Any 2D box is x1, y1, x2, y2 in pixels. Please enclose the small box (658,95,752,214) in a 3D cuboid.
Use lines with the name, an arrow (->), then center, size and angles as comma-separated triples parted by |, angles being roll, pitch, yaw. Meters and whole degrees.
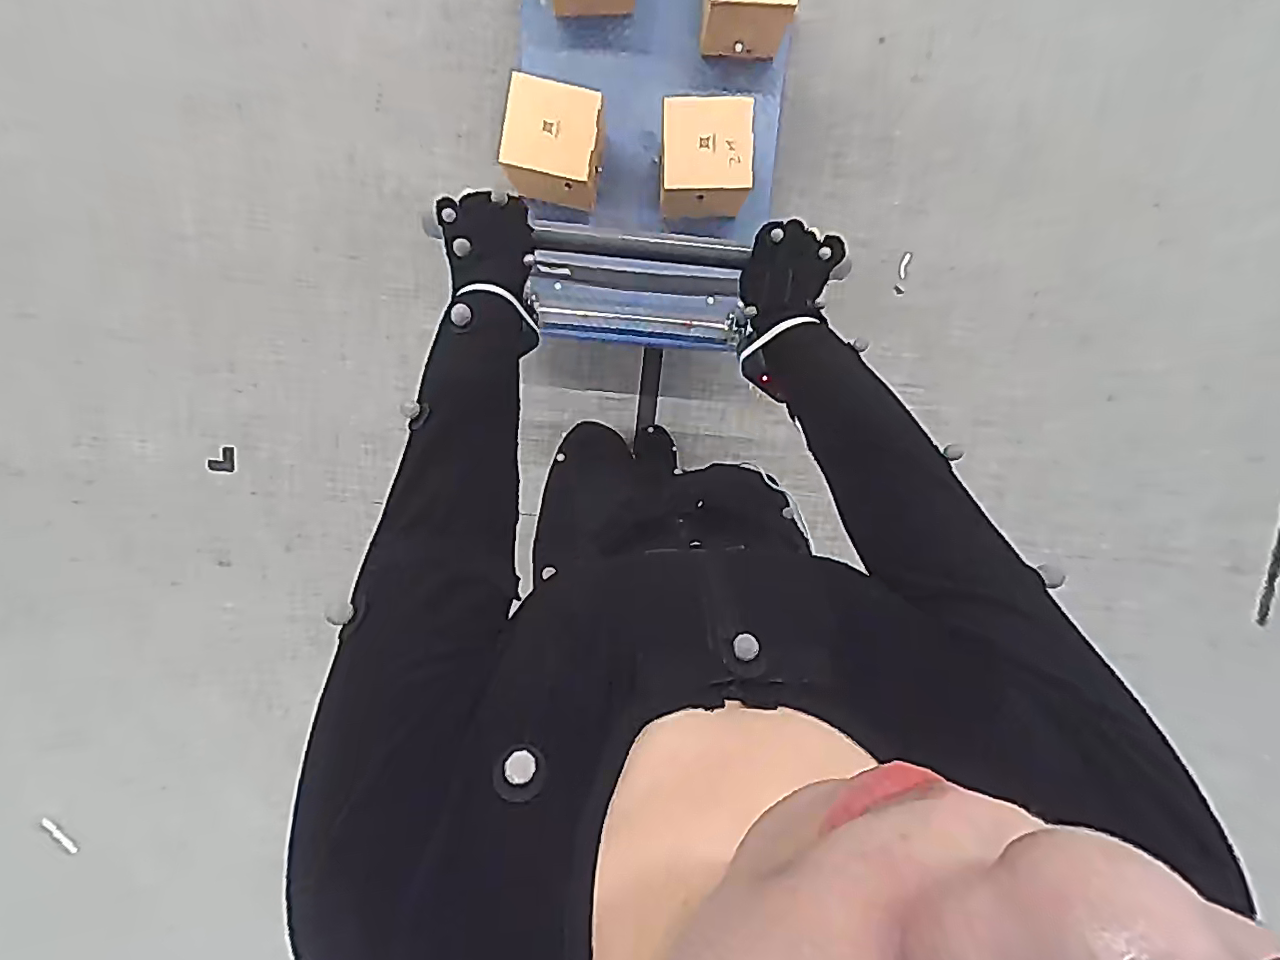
small box -> 0.126, -0.659, 1.113 | 0.179, 0.176, 0.168 | -1, 99, 0

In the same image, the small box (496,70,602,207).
small box -> -0.178, -0.683, 1.104 | 0.179, 0.176, 0.168 | 11, 98, -4

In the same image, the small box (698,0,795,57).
small box -> 0.208, -0.984, 1.064 | 0.168, 0.176, 0.179 | 2, 100, -1
